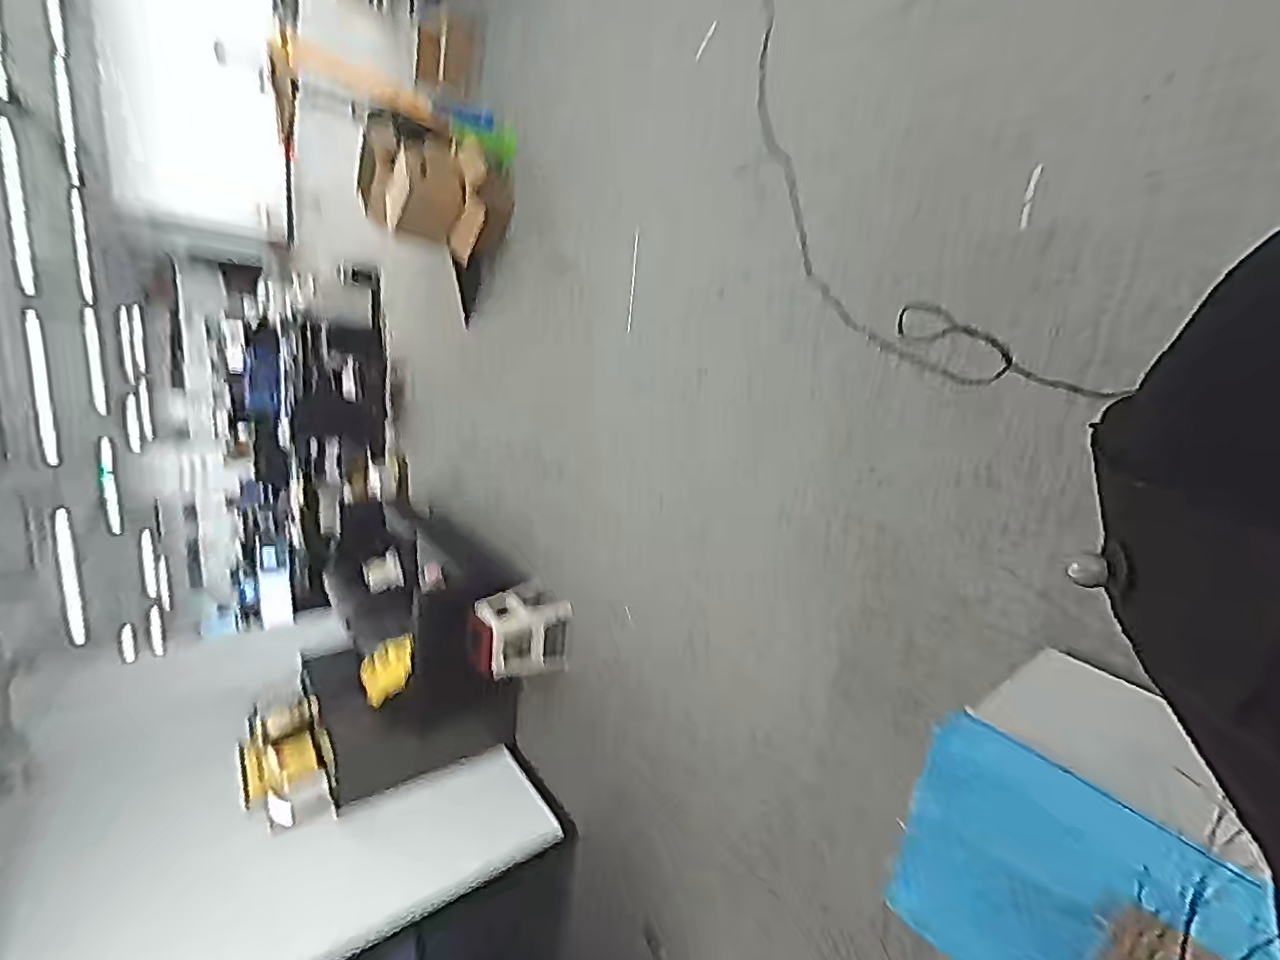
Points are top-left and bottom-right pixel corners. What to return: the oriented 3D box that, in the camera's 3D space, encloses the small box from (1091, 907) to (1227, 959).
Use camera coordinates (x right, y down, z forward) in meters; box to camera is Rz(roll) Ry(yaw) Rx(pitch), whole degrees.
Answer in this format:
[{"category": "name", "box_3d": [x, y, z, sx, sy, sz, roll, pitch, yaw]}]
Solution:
[{"category": "small box", "box_3d": [0.651, 0.674, 0.657, 0.179, 0.176, 0.168, 23, 112, 47]}]
